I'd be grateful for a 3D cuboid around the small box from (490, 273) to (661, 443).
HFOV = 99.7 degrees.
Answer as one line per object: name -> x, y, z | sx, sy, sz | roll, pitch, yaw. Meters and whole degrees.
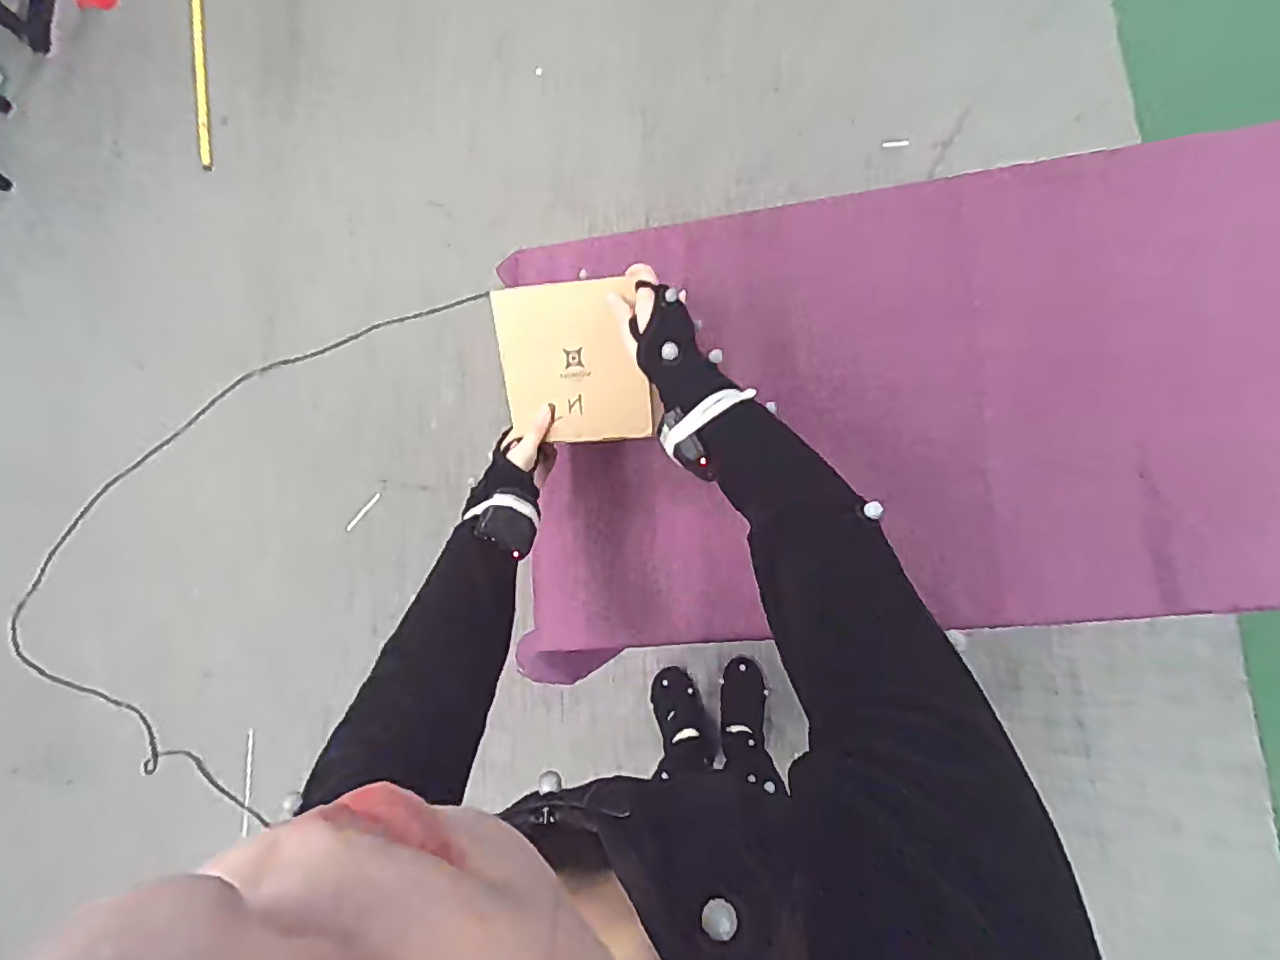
small box -> -0.067, -0.156, 0.673 | 0.168, 0.176, 0.179 | -3, 110, 9
